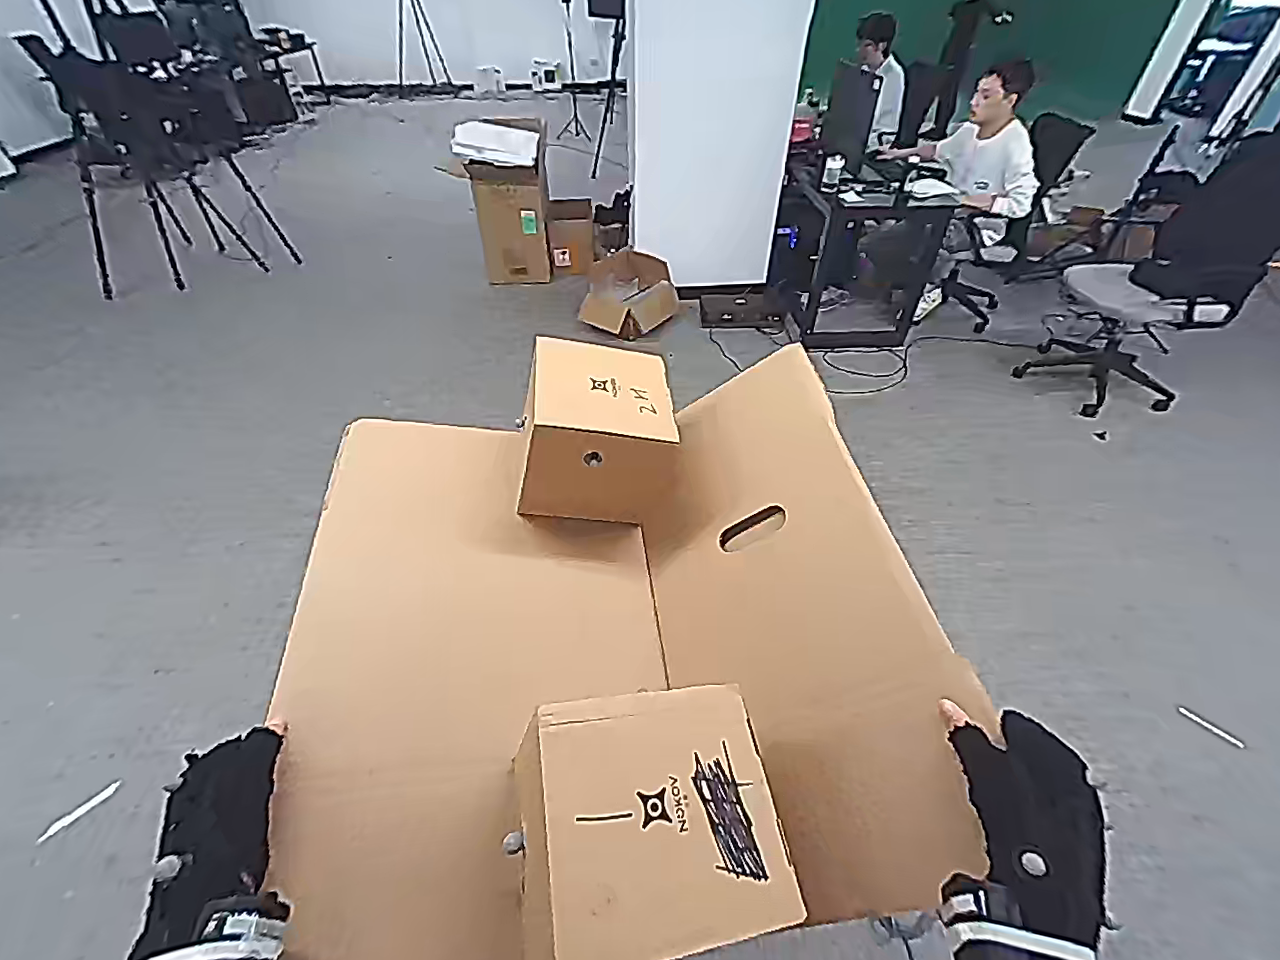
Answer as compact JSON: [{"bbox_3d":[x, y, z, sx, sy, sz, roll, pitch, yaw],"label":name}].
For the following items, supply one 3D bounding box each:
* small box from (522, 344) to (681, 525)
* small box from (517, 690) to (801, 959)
[{"bbox_3d":[-0.061,-0.055,0.731,0.179,0.176,0.168,8,49,-15],"label":"small box"},{"bbox_3d":[-0.003,0.291,0.454,0.179,0.176,0.168,2,51,-19],"label":"small box"}]
